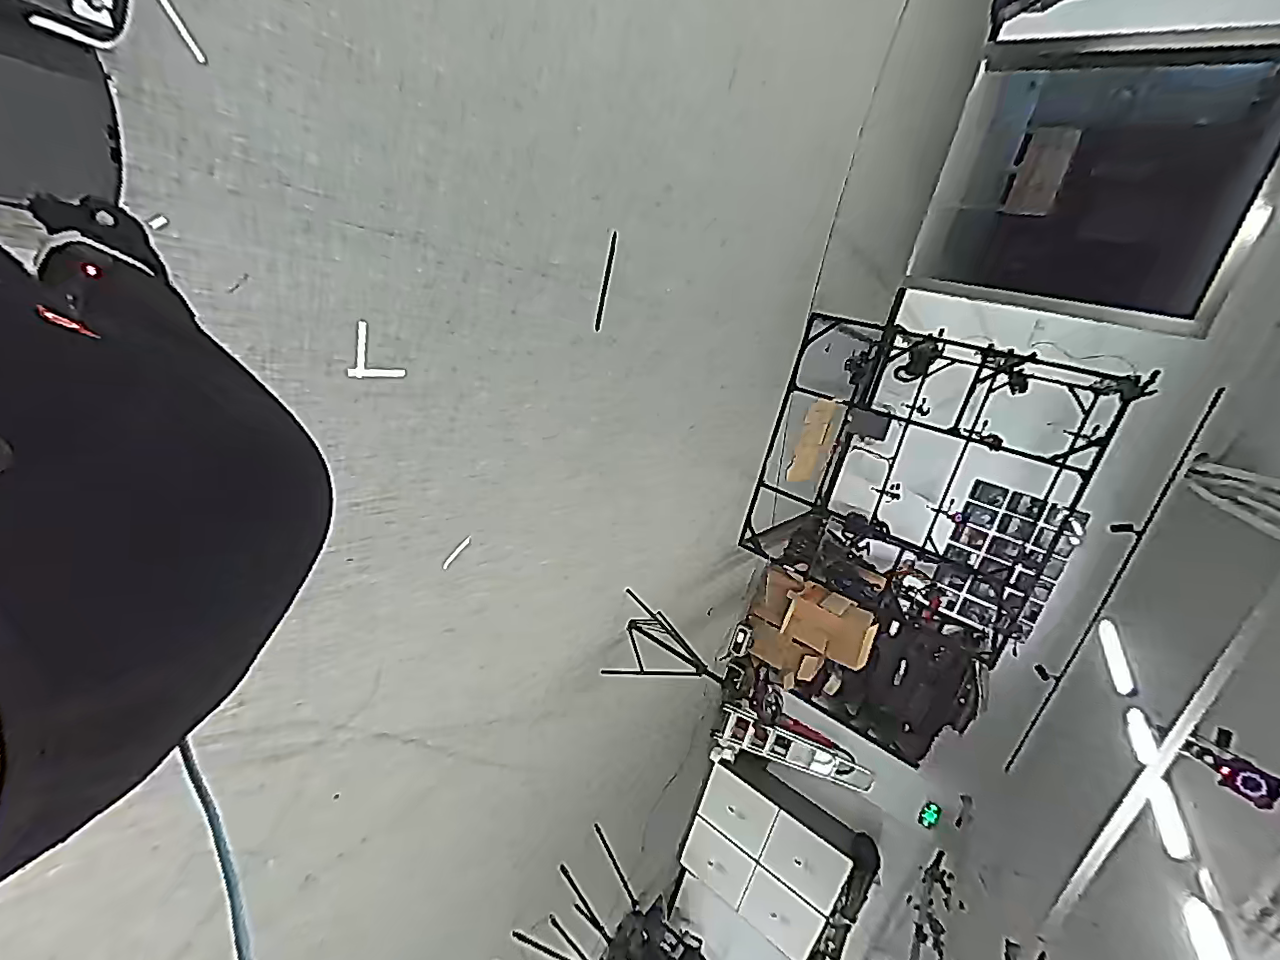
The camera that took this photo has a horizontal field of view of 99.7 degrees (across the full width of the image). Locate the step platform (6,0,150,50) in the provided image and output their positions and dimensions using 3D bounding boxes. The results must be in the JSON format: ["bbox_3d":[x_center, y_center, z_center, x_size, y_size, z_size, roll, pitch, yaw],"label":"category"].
[{"bbox_3d":[-1.040,-0.832,0.642,0.684,0.204,0.286,-14,122,-55],"label":"step platform"}]
